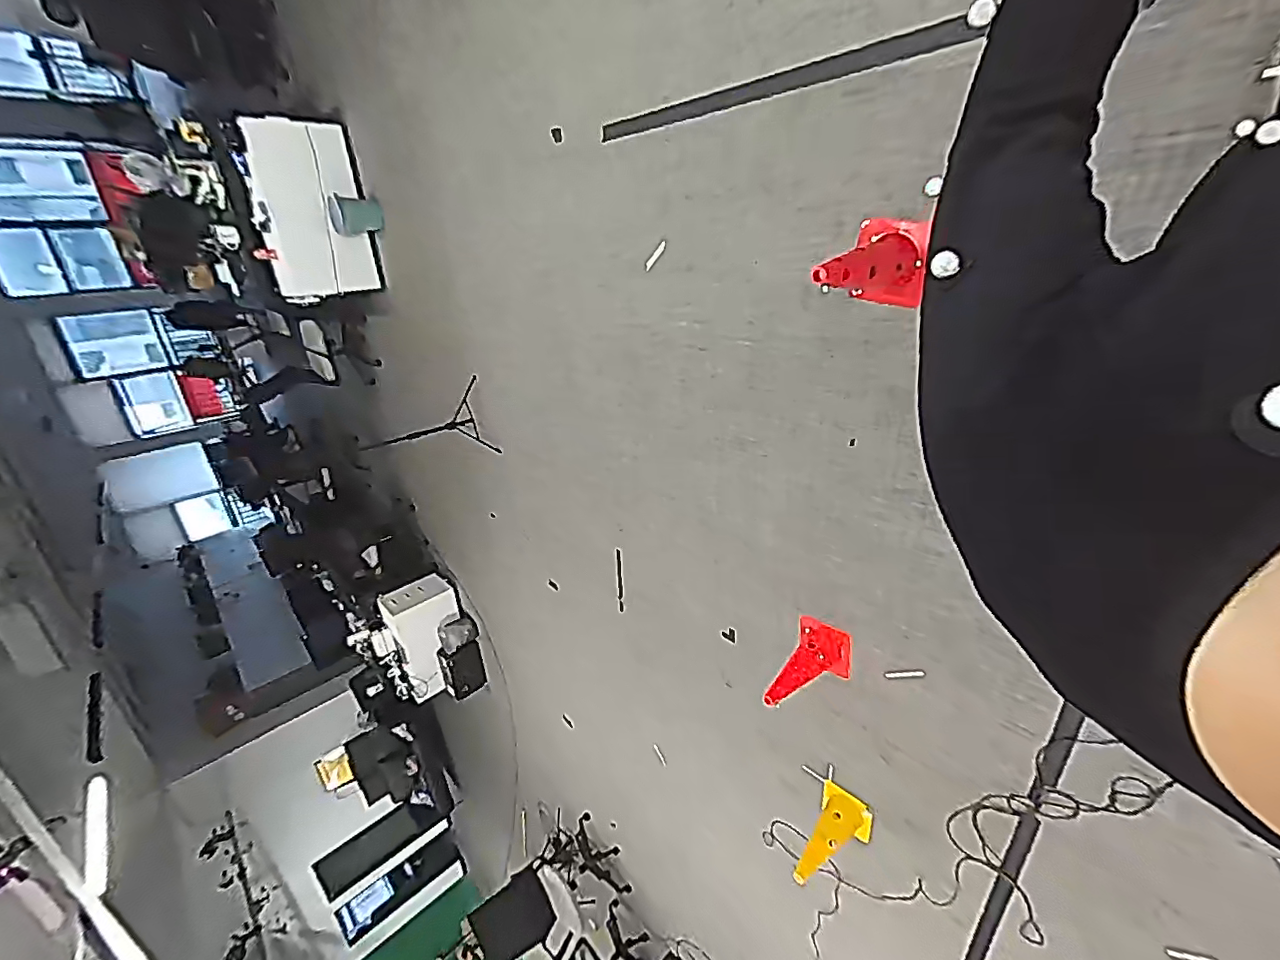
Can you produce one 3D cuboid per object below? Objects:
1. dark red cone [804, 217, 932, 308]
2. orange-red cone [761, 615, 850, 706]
[{"bbox_3d":[0.499,-0.496,1.261,0.201,0.394,0.202,27,128,39],"label":"dark red cone"},{"bbox_3d":[0.540,0.659,1.856,0.198,0.360,0.199,19,124,45],"label":"orange-red cone"}]
